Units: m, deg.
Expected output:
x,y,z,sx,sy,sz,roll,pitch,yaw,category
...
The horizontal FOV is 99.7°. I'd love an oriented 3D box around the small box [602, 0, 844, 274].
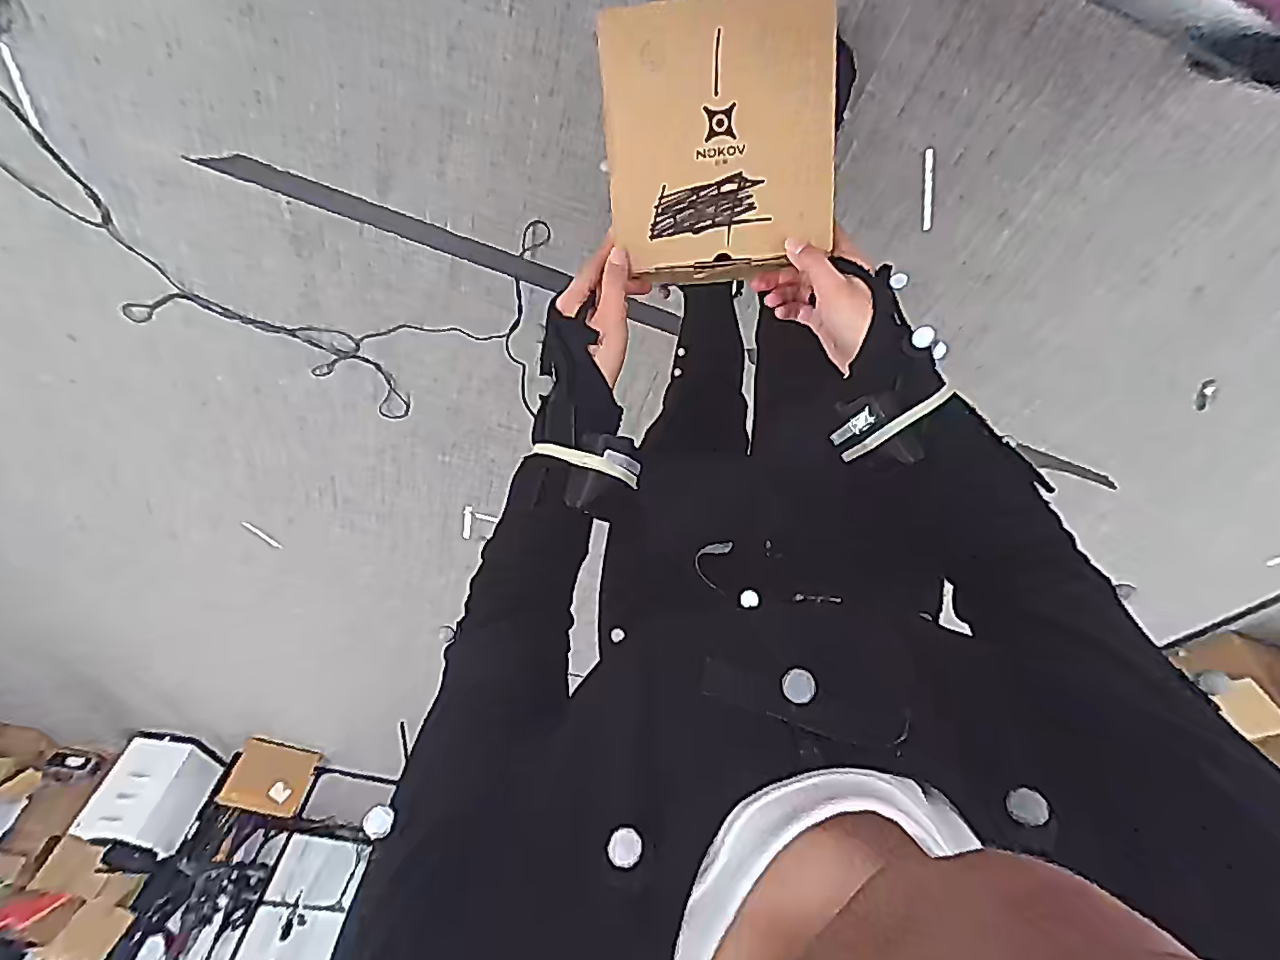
x,y,z,sx,sy,sz,roll,pitch,yaw,category
0.066,-0.276,0.461,0.168,0.176,0.179,-3,105,5,small box
